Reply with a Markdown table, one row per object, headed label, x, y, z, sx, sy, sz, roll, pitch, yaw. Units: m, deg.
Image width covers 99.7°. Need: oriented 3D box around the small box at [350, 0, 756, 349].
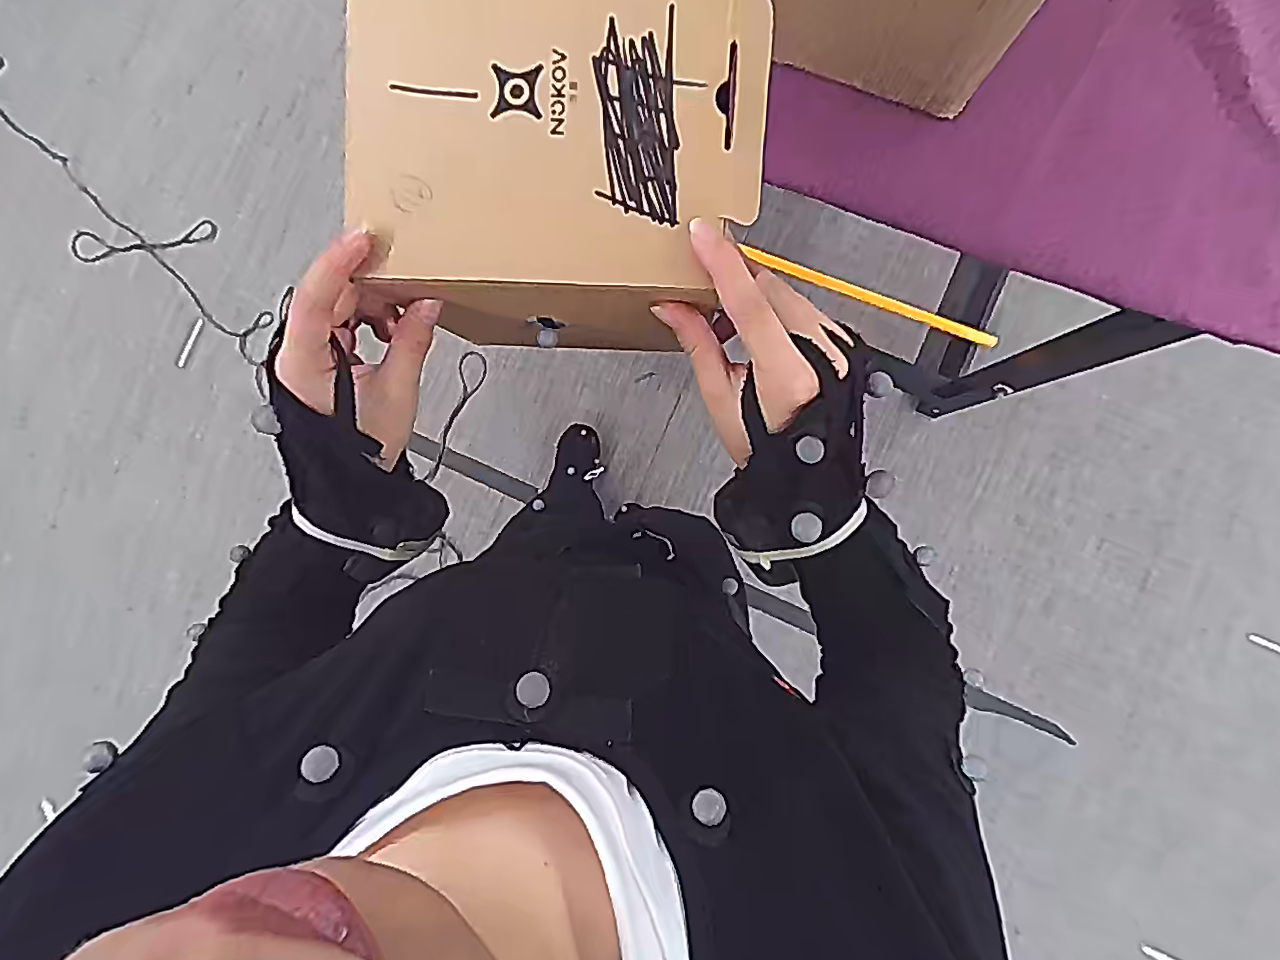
| label | x | y | z | sx | sy | sz | roll | pitch | yaw |
| --- | --- | --- | --- | --- | --- | --- | --- | --- | --- |
| small box | -0.036 | -0.174 | 0.314 | 0.179 | 0.176 | 0.168 | 3 | 94 | 3 |
